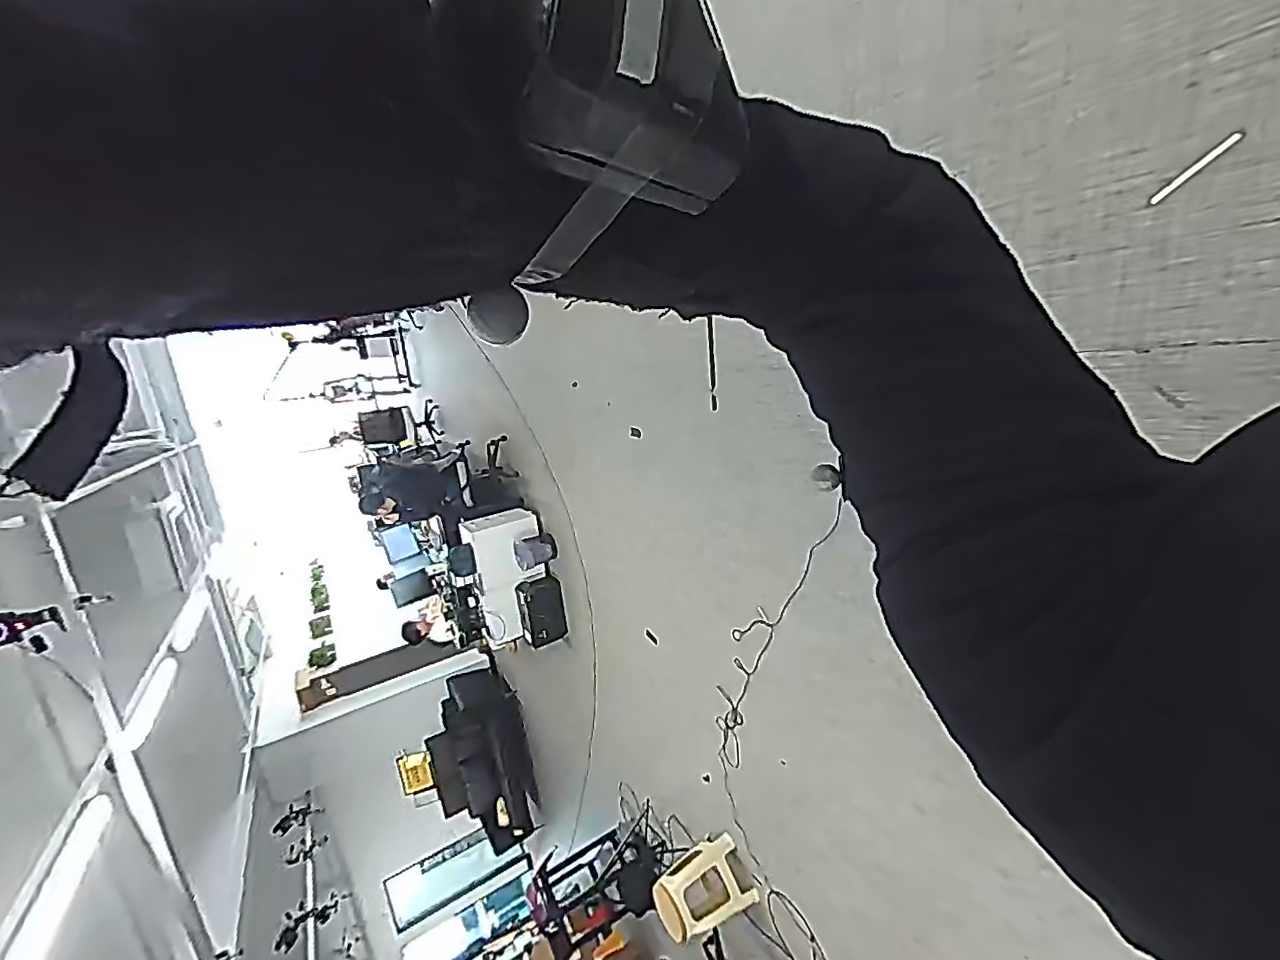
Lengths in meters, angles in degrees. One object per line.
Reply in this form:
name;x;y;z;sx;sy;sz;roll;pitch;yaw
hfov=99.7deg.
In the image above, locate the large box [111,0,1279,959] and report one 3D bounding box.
large box;0.119;0.061;0.154;0.408;0.320;0.320;14;-115;53
